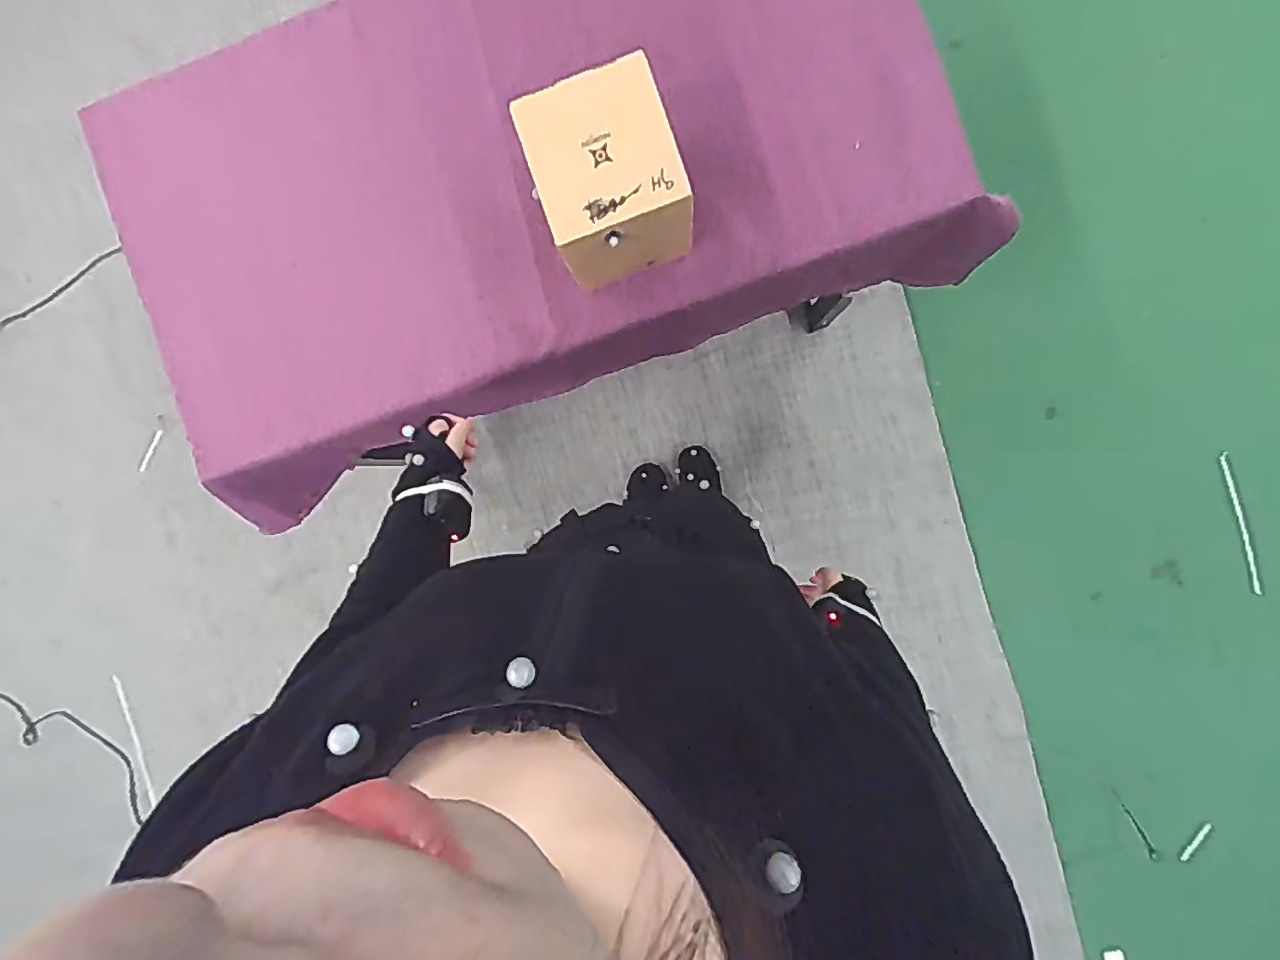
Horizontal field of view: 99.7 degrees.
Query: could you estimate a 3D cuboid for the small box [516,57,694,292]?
[{"bbox_3d":[-0.035,-0.372,0.693,0.168,0.176,0.179,-18,89,6],"label":"small box"}]
